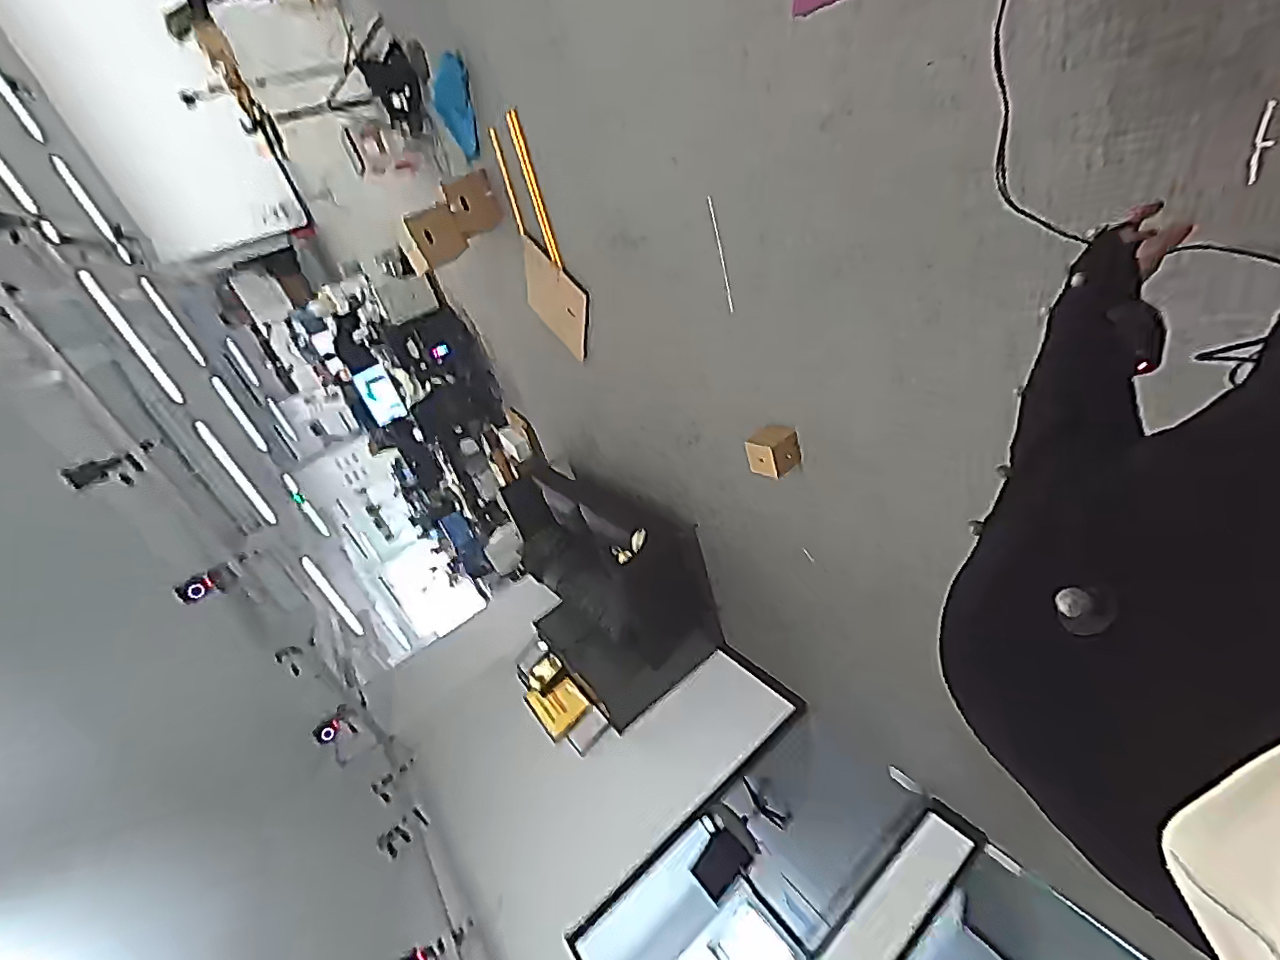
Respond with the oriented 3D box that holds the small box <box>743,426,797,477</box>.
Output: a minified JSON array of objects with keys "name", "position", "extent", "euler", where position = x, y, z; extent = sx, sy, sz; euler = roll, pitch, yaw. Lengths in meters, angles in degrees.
[{"name":"small box","position":[0.614,-0.137,2.524],"extent":[0.179,0.176,0.168],"euler":[23,138,53]}]
